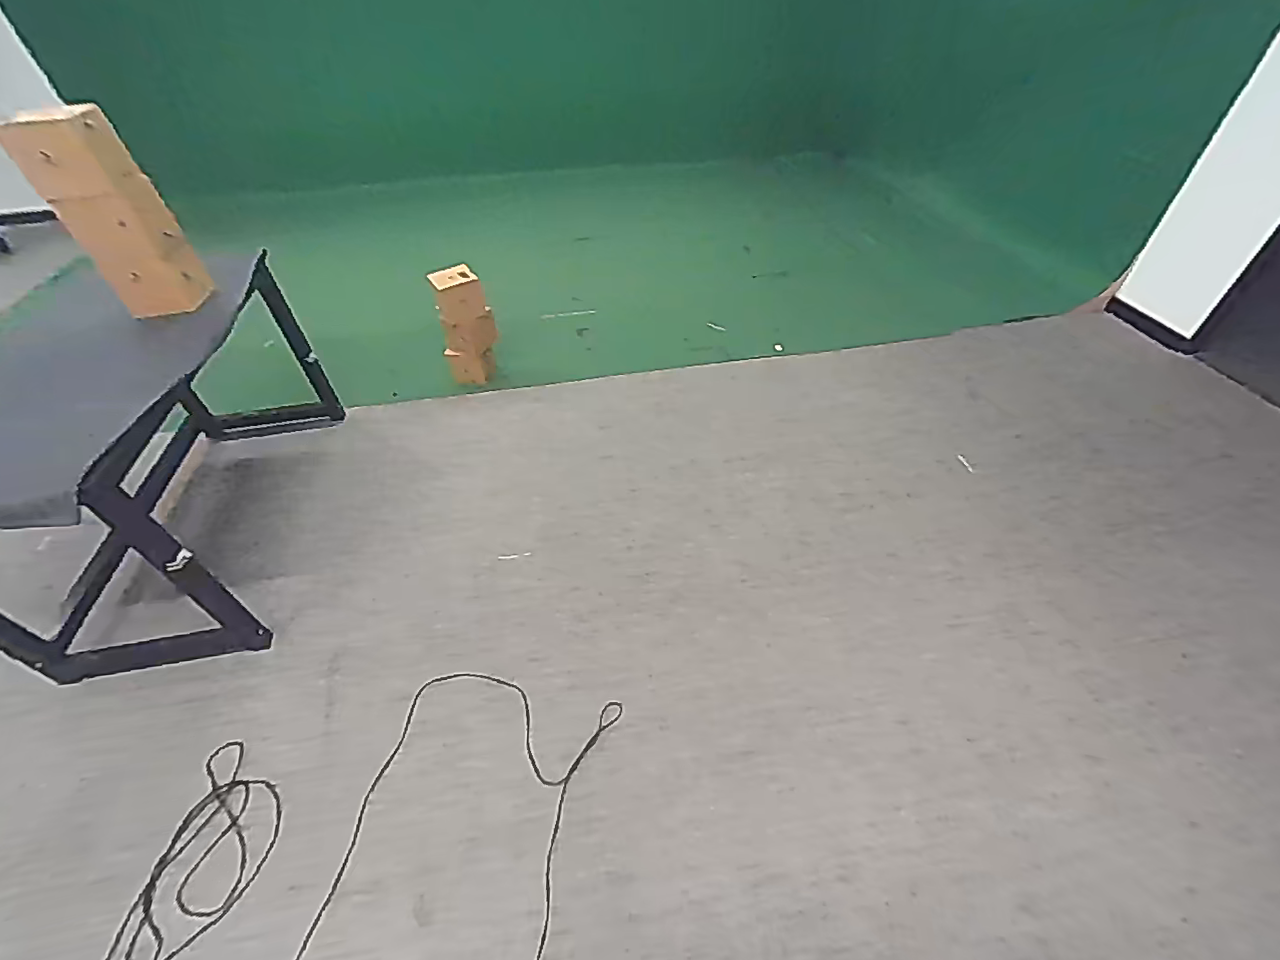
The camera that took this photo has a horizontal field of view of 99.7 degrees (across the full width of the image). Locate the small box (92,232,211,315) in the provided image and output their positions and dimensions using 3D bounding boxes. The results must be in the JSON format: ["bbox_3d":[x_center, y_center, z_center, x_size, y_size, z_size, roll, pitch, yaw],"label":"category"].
[{"bbox_3d":[-1.438,-0.612,1.609,0.179,0.176,0.168,-9,46,-5],"label":"small box"}]

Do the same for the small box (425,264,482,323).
[{"bbox_3d":[-0.799,-0.807,2.342,0.179,0.176,0.168,-26,52,-21],"label":"small box"}]

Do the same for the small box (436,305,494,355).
[{"bbox_3d":[-0.787,-0.693,2.460,0.168,0.176,0.179,20,49,18],"label":"small box"}]

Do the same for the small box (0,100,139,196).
[{"bbox_3d":[-1.450,-0.839,1.372,0.179,0.176,0.168,-12,47,-7],"label":"small box"}]

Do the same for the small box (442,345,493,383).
[{"bbox_3d":[-0.816,-0.579,2.577,0.168,0.176,0.179,4,46,5],"label":"small box"}]
